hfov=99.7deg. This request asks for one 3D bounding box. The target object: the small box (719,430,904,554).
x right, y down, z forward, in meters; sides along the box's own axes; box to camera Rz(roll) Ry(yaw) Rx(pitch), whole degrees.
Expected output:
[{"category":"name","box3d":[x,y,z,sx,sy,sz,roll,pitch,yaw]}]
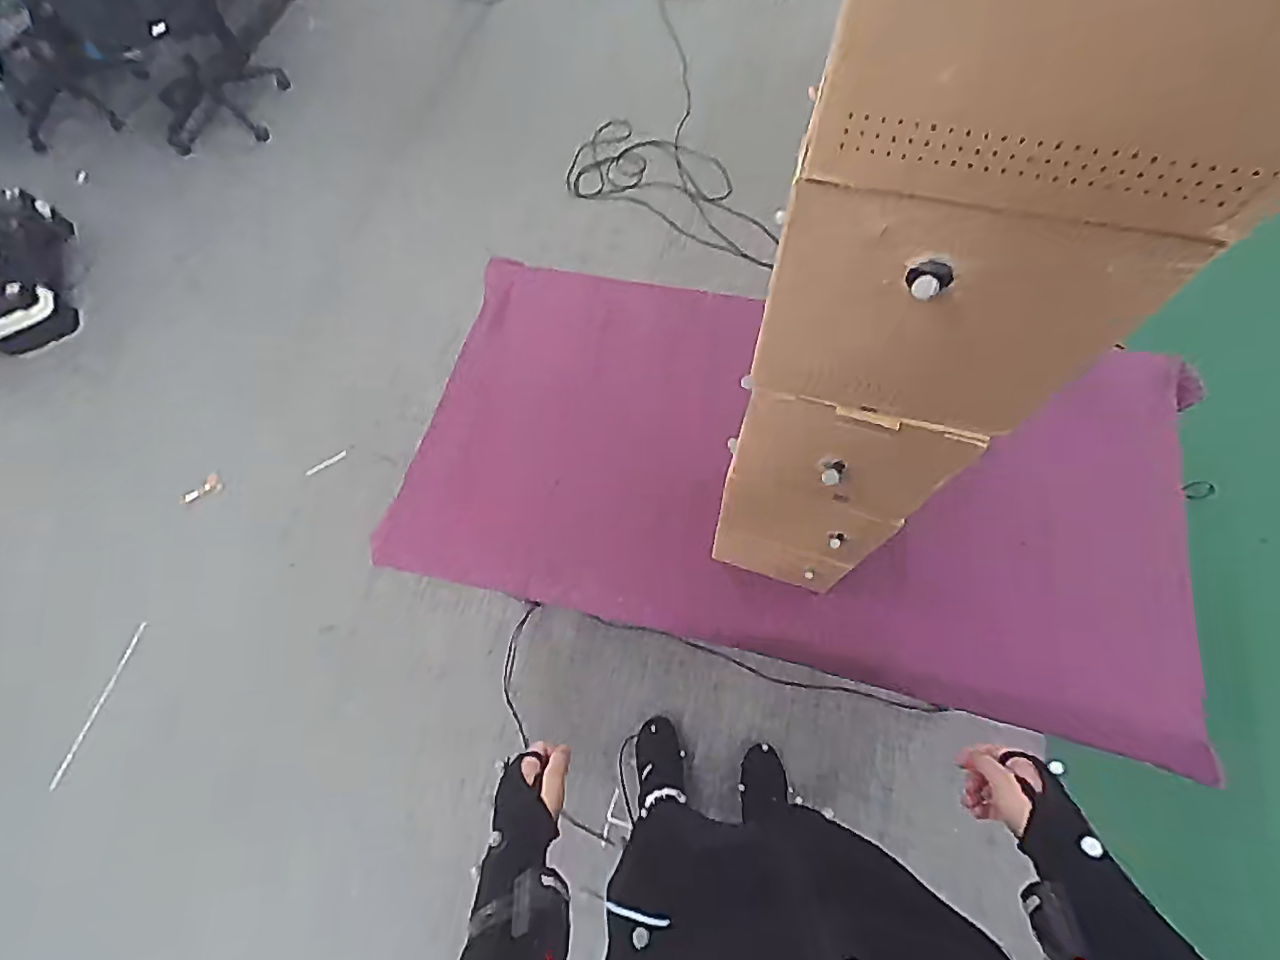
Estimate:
[{"category":"small box","box3d":[0.200,-0.025,0.633,0.179,0.176,0.168,16,70,12]}]

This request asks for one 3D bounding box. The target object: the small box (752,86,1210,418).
[{"category":"small box","box3d":[0.177,-0.158,0.335,0.179,0.176,0.168,15,69,10]}]

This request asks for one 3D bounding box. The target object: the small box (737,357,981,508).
[{"category":"small box","box3d":[0.189,-0.093,0.486,0.168,0.176,0.179,17,70,11]}]
